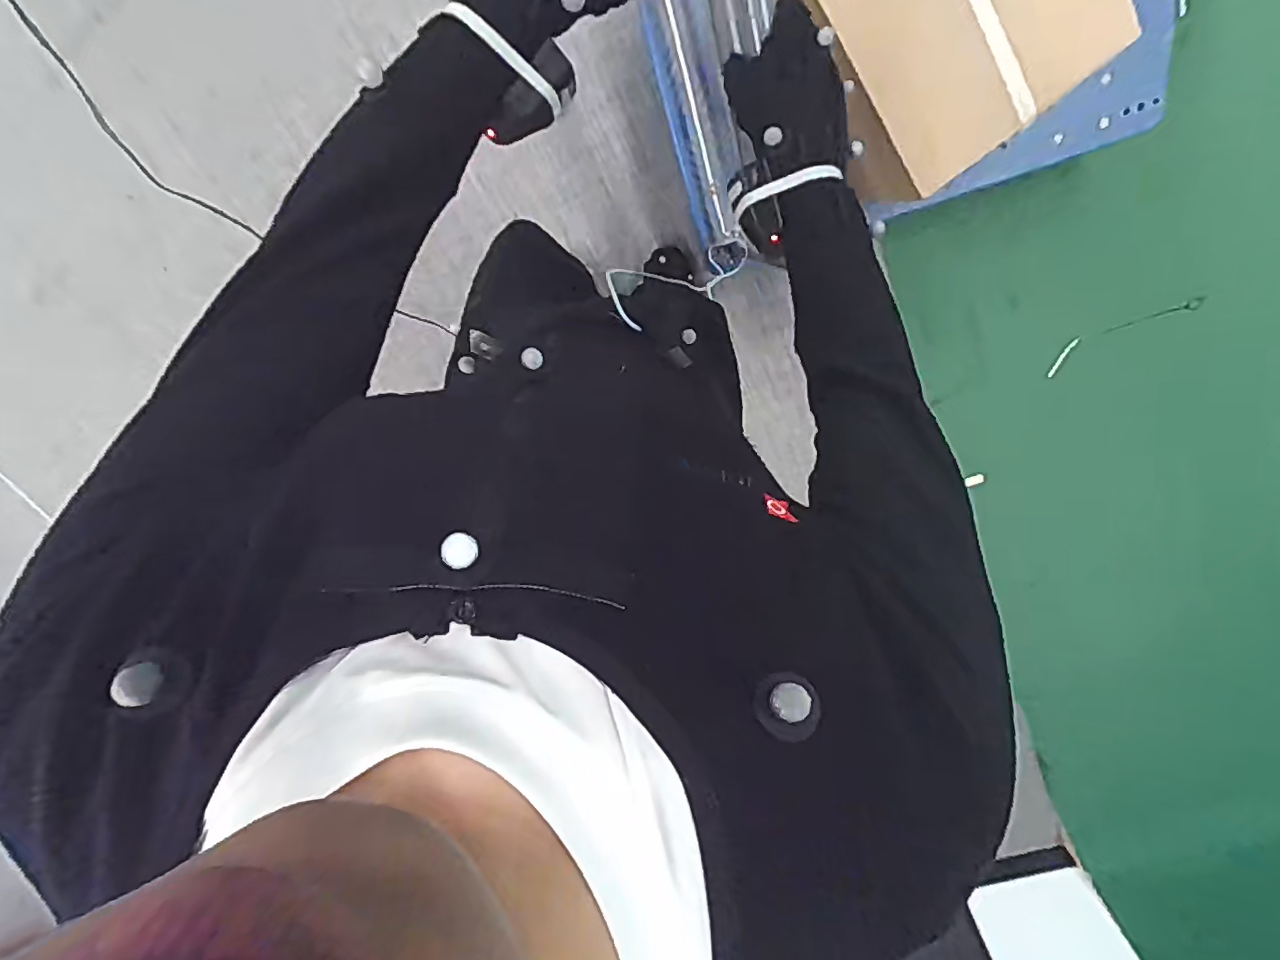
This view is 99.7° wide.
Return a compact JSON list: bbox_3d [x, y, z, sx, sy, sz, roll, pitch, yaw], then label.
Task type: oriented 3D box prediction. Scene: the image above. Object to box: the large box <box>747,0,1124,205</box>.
[{"bbox_3d":[0.416,-0.703,0.839,0.320,0.320,0.408,-34,109,17],"label":"large box"}]
